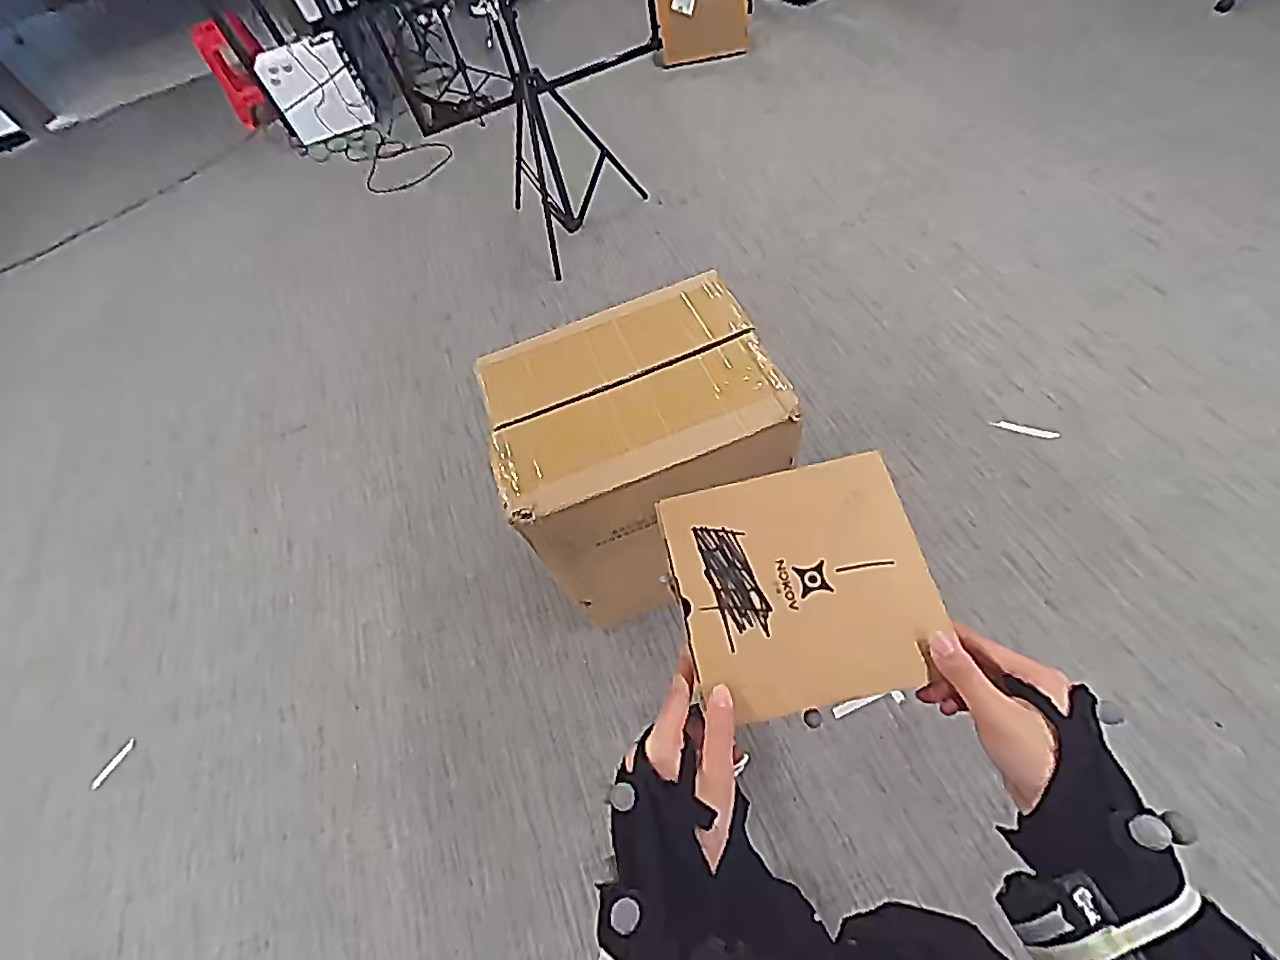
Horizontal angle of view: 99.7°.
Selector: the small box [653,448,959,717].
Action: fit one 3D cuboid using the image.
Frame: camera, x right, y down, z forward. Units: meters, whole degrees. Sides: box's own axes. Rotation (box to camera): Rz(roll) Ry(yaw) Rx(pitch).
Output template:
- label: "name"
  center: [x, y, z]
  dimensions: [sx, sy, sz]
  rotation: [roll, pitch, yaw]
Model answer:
- label: "small box"
  center: [0.118, 0.096, 0.455]
  dimensions: [0.179, 0.176, 0.168]
  rotation: [-13, 67, 1]
